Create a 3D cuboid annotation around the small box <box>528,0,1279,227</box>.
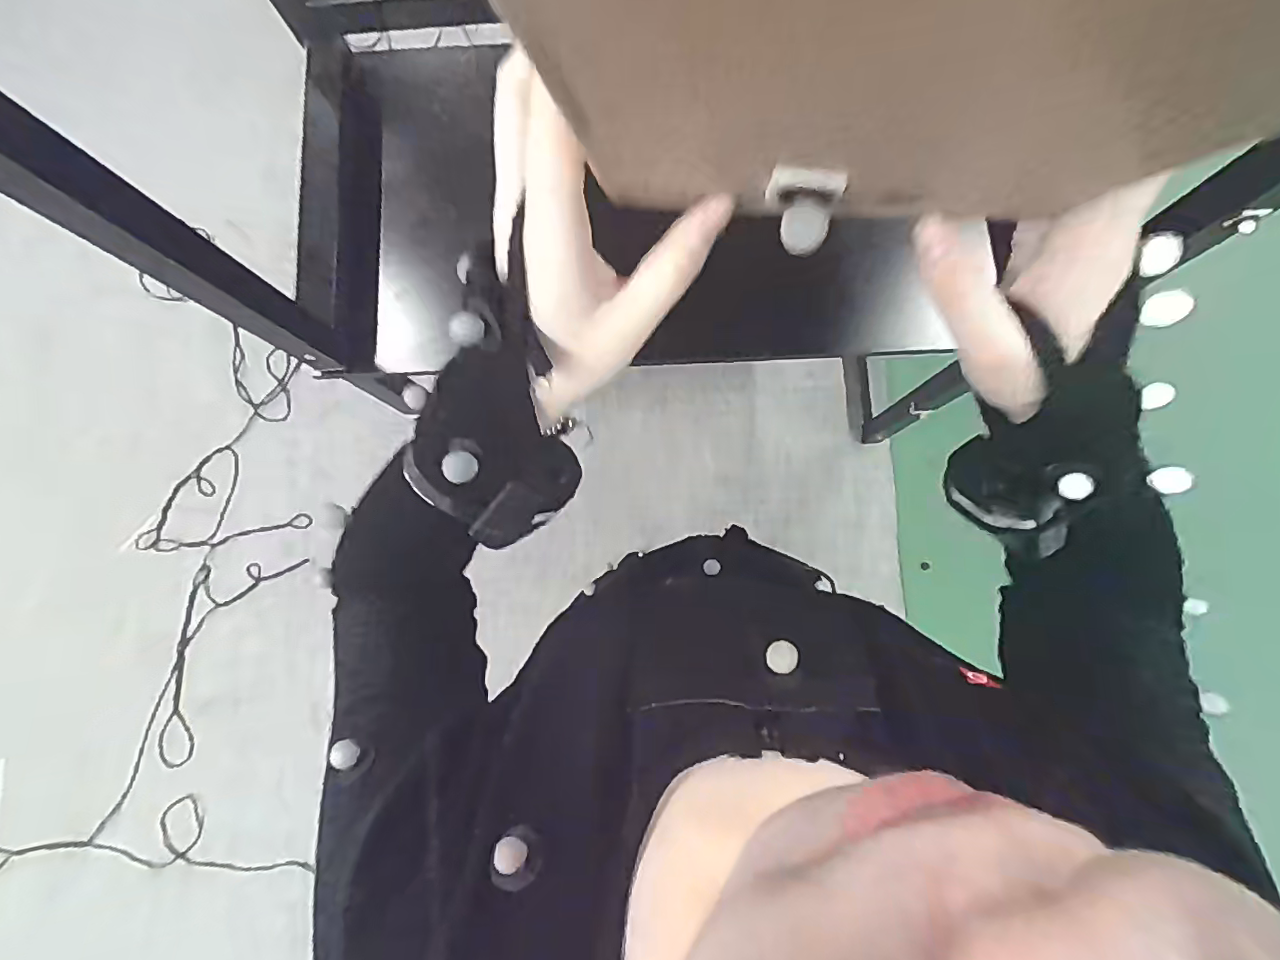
[{"bbox_3d":[0.064,-0.167,0.116,0.168,0.176,0.179,4,106,7],"label":"small box"}]
